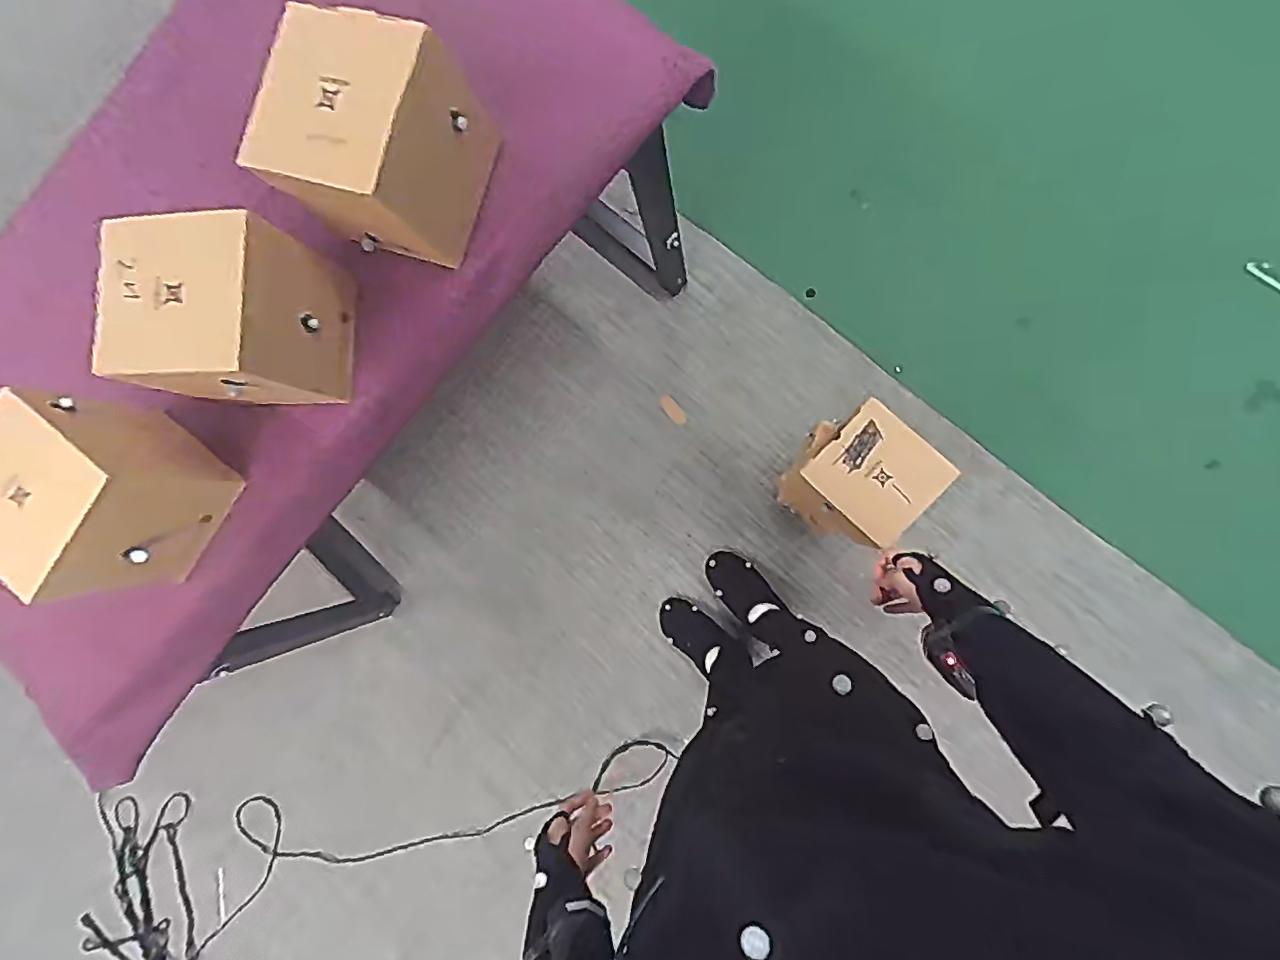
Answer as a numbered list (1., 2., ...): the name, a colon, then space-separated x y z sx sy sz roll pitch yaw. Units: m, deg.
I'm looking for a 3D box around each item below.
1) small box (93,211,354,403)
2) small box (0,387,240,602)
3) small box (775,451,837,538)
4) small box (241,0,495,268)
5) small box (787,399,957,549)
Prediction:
1. small box: -0.462 -0.186 0.626 0.179 0.176 0.168 1 87 9
2. small box: -0.638 0.016 0.645 0.179 0.176 0.168 35 93 10
3. small box: 0.422 0.013 1.228 0.179 0.176 0.168 -38 84 5
4. small box: -0.287 -0.373 0.609 0.168 0.176 0.179 19 91 11
5. small box: 0.370 -0.005 0.904 0.179 0.176 0.168 44 93 6
